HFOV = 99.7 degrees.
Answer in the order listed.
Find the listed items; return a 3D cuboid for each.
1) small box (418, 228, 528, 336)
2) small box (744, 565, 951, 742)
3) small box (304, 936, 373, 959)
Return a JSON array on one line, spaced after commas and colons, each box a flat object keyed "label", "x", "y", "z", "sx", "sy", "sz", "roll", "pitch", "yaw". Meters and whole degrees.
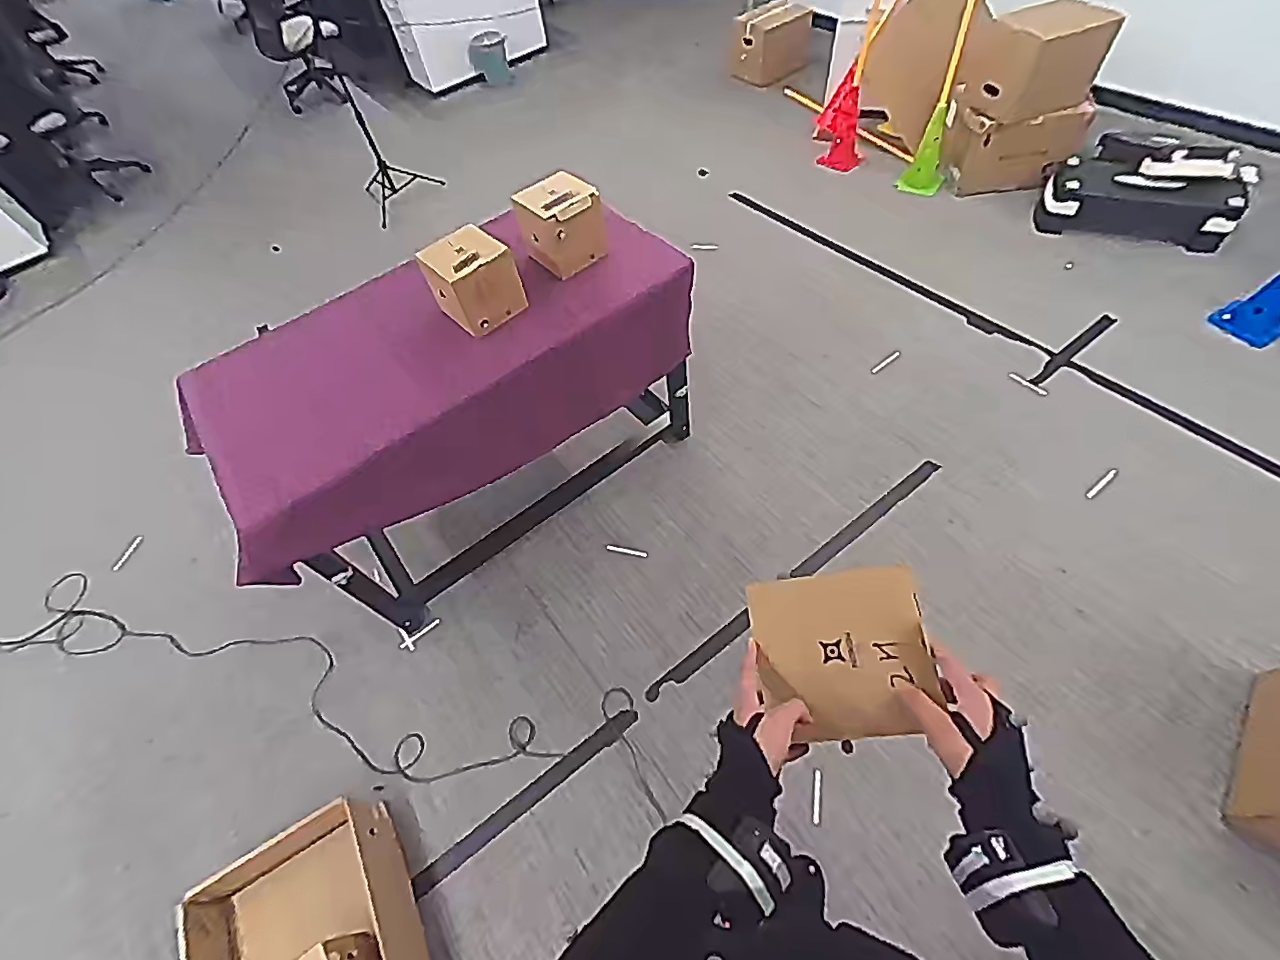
[{"label": "small box", "x": -0.406, "y": -0.484, "z": 1.341, "sx": 0.168, "sy": 0.176, "sz": 0.179, "roll": -40, "pitch": 59, "yaw": -18}, {"label": "small box", "x": 0.226, "y": 0.207, "z": 0.631, "sx": 0.179, "sy": 0.176, "sz": 0.168, "roll": -10, "pitch": 67, "yaw": 11}, {"label": "small box", "x": -0.668, "y": 1.106, "z": 1.132, "sx": 0.179, "sy": 0.176, "sz": 0.168, "roll": -34, "pitch": 57, "yaw": -15}]
